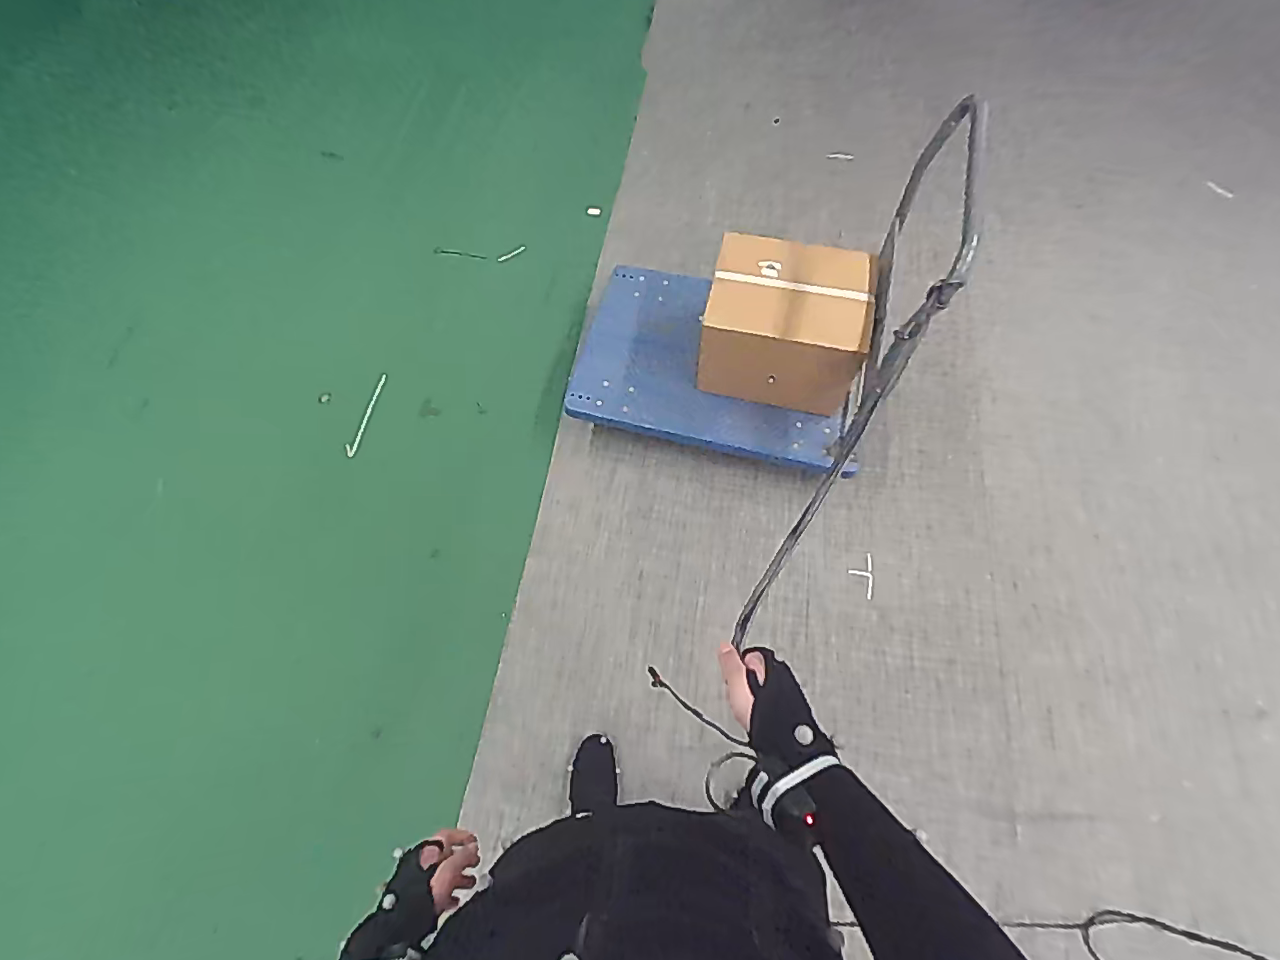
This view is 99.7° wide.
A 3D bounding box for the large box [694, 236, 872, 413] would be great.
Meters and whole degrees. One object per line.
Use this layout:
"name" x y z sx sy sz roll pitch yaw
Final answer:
"large box" 0.377 -0.417 1.487 0.408 0.320 0.320 12 68 9
